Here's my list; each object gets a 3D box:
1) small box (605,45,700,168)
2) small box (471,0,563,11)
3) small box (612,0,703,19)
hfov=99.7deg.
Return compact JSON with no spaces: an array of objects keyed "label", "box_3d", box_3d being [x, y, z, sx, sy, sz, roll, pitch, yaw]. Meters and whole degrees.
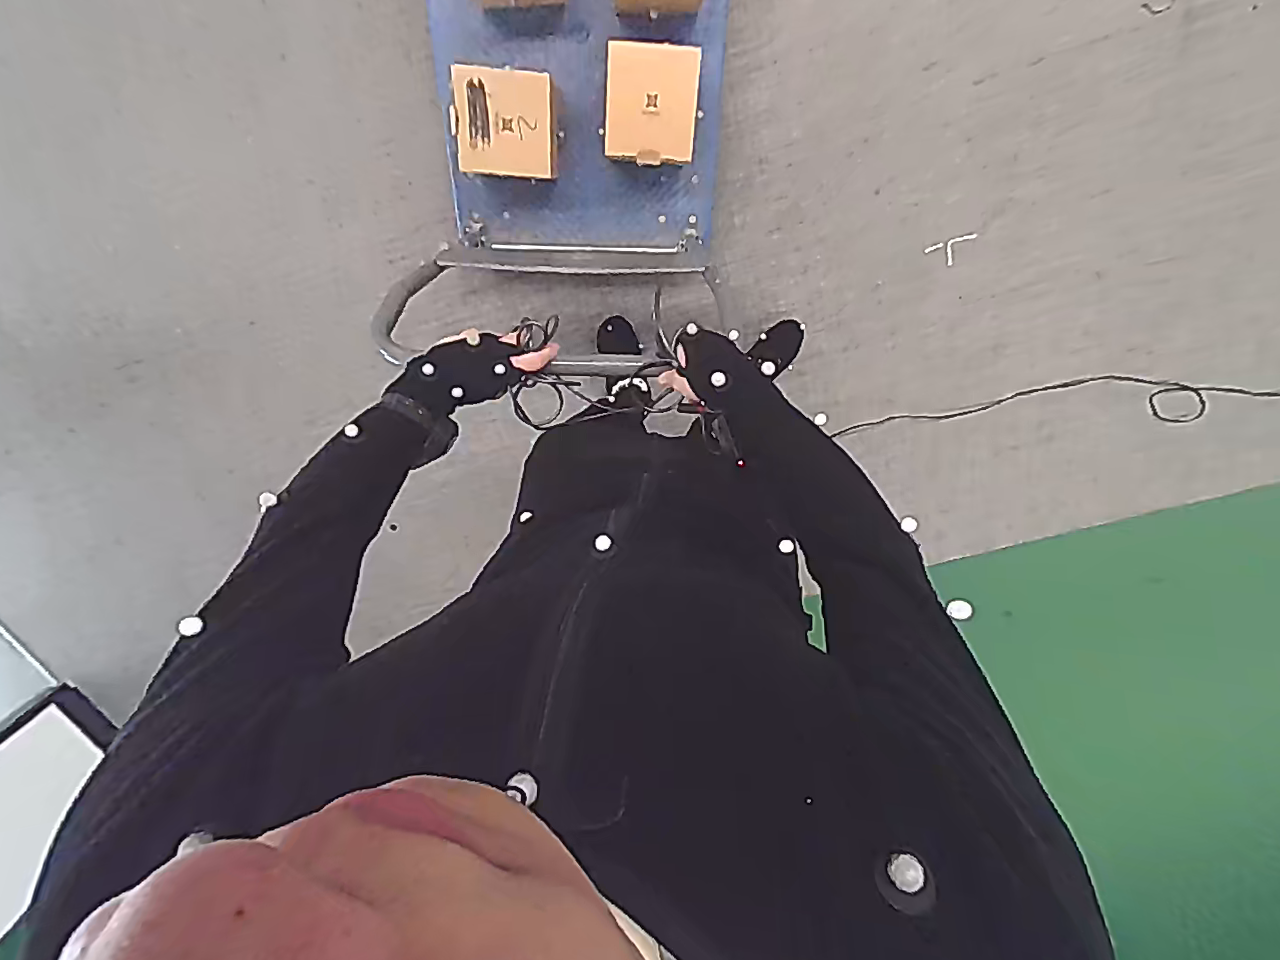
[{"label":"small box","box_3d":[0.017,-0.715,1.052,0.168,0.176,0.179,2,120,-2]},{"label":"small box","box_3d":[-0.227,-0.930,0.923,0.168,0.176,0.179,-3,119,0]},{"label":"small box","box_3d":[0.029,-0.927,0.930,0.168,0.176,0.179,0,120,0]}]
